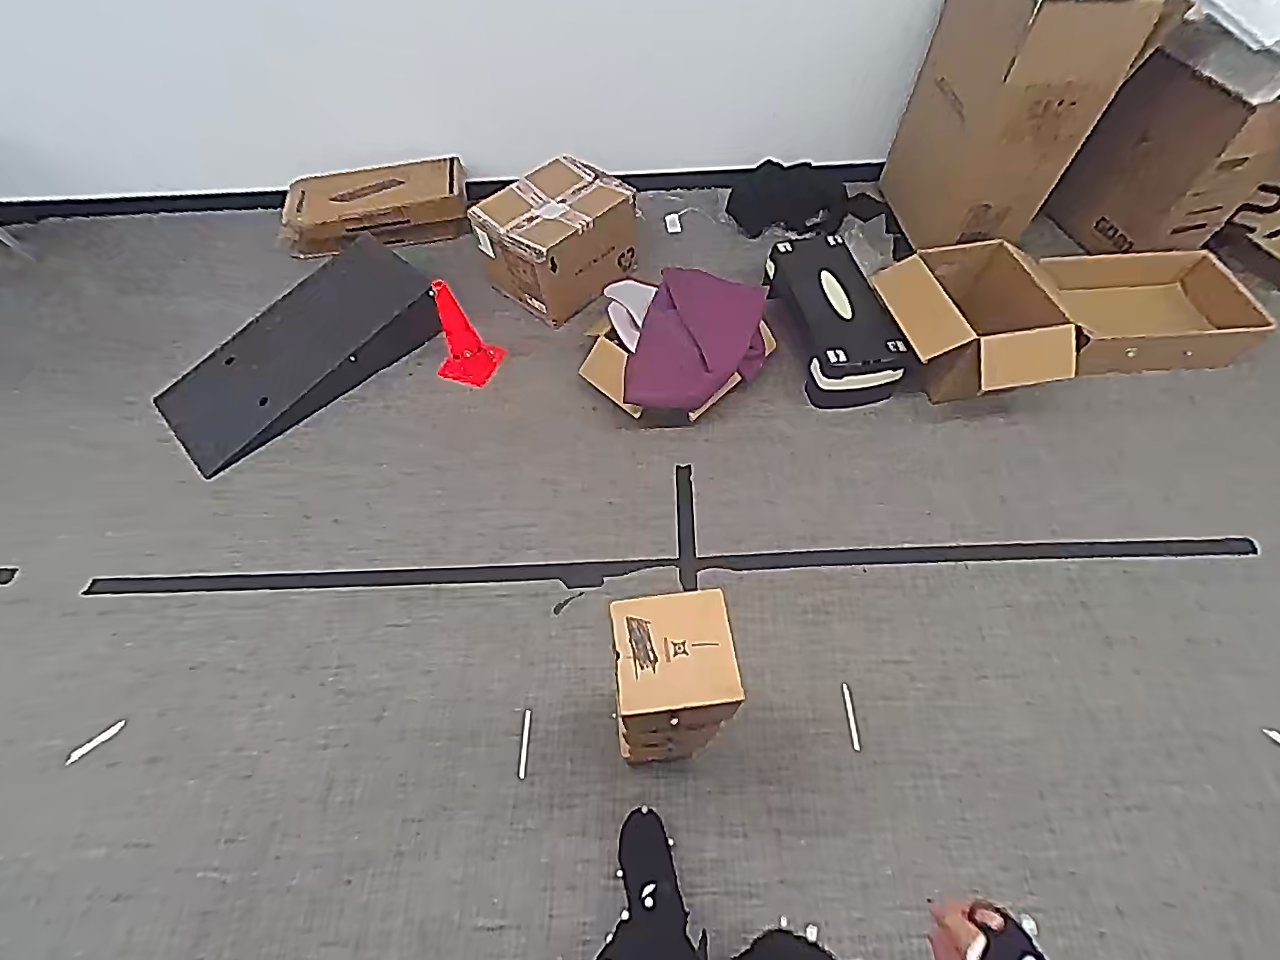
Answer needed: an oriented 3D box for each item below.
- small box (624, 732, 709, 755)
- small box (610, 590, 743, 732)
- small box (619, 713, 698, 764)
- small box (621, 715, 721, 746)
[{"bbox_3d":[0.048,0.467,1.127,0.168,0.176,0.179,-8,59,-2],"label":"small box"},{"bbox_3d":[0.052,0.289,0.849,0.179,0.176,0.168,-6,58,-2],"label":"small box"},{"bbox_3d":[0.037,0.554,1.266,0.168,0.176,0.179,-8,59,-1],"label":"small box"},{"bbox_3d":[0.050,0.376,0.988,0.168,0.176,0.179,-4,58,1],"label":"small box"}]
